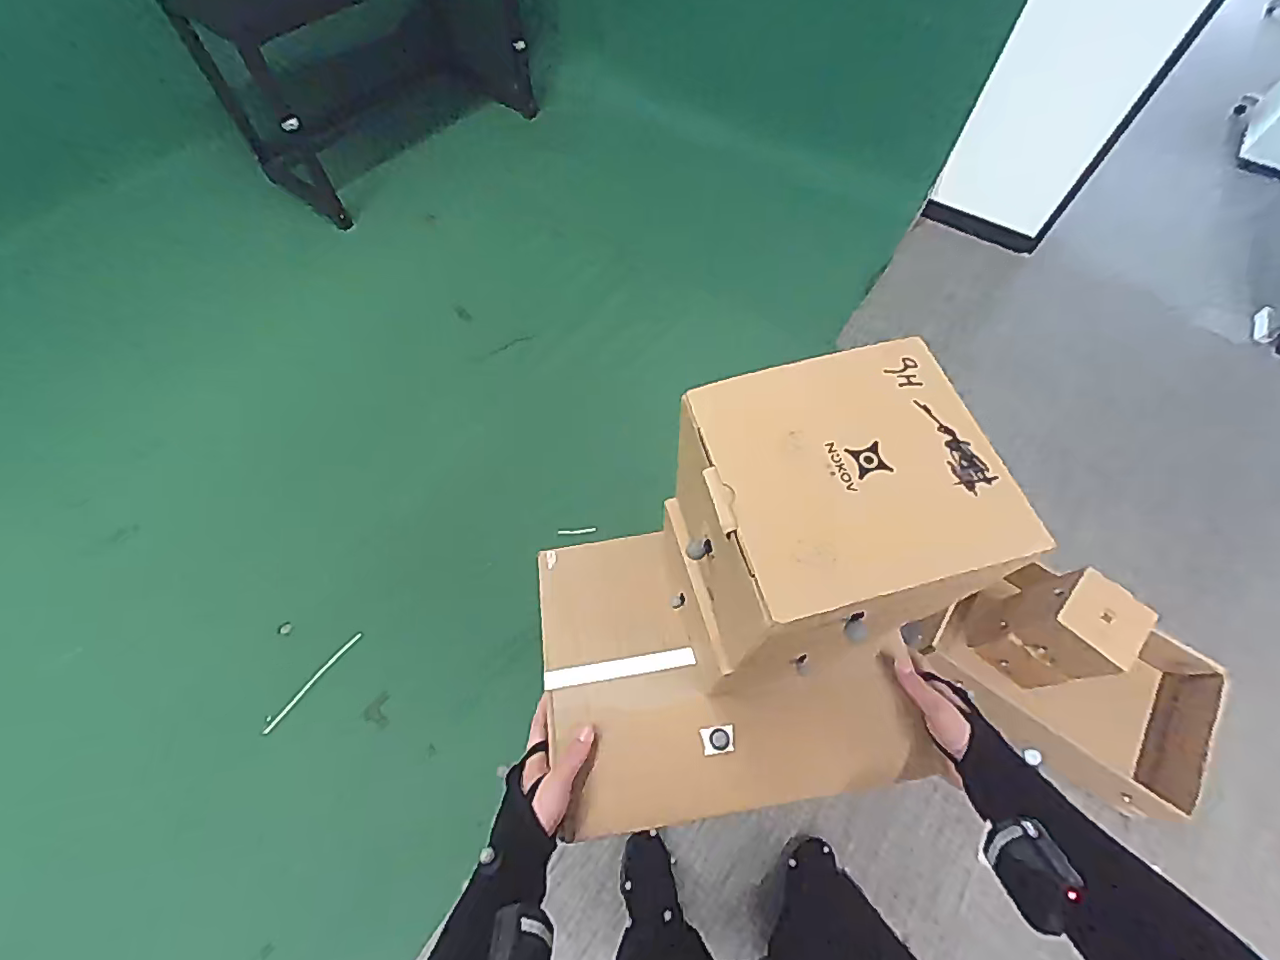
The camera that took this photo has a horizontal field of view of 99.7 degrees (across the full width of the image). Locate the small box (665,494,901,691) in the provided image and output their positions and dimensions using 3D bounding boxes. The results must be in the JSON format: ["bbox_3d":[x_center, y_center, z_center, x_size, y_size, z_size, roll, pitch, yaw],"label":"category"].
[{"bbox_3d":[0.131,0.104,0.551,0.179,0.176,0.168,-14,63,-6],"label":"small box"}]

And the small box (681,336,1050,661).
[{"bbox_3d":[0.136,0.025,0.407,0.179,0.176,0.168,-14,63,-4],"label":"small box"}]

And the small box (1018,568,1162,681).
[{"bbox_3d":[1.034,0.341,1.258,0.168,0.176,0.179,42,70,17],"label":"small box"}]
